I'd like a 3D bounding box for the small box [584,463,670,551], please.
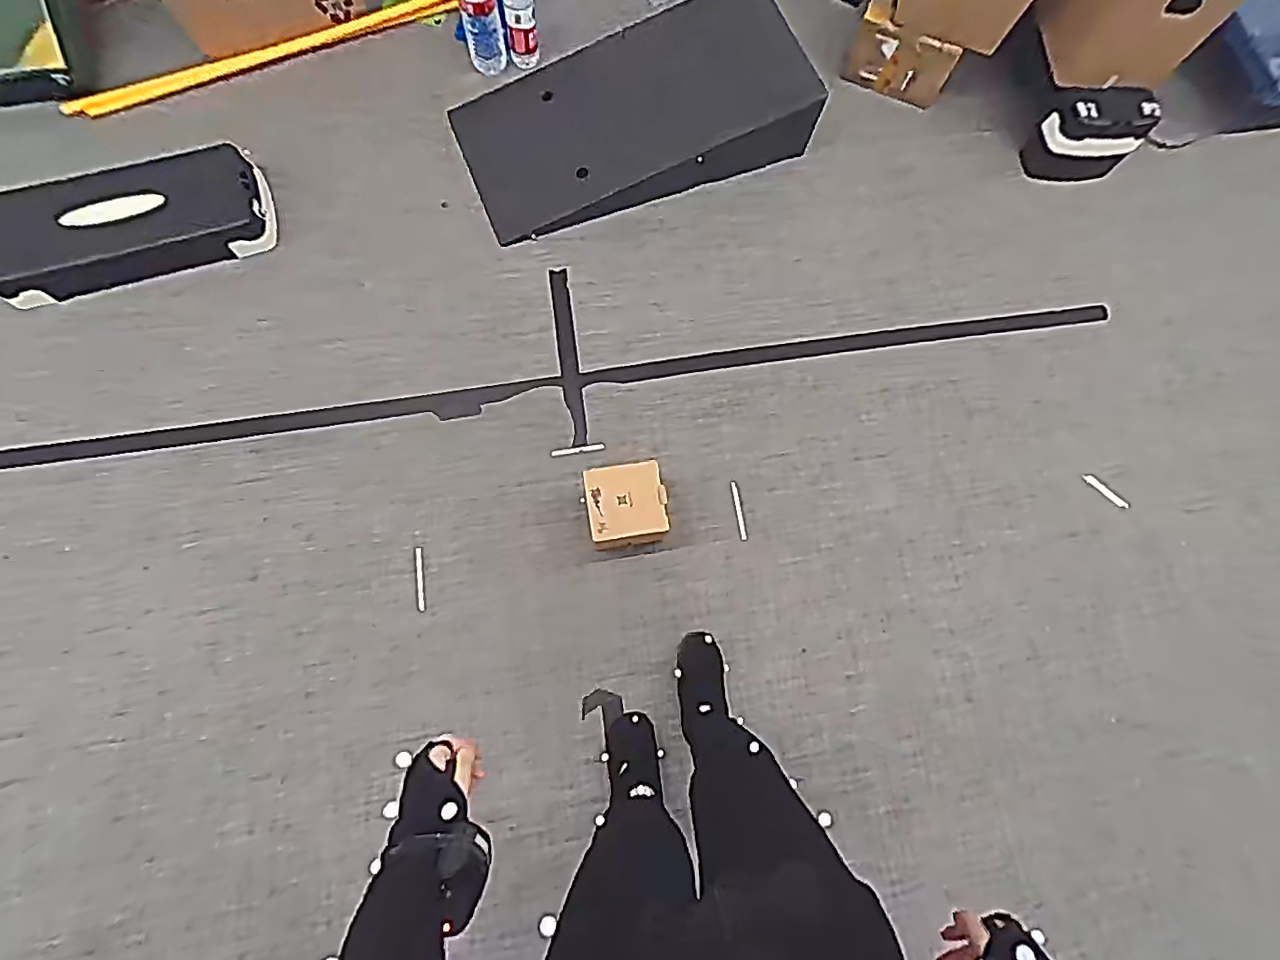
[{"bbox_3d":[-0.037,0.068,1.271,0.179,0.176,0.168,-8,77,-7],"label":"small box"}]
